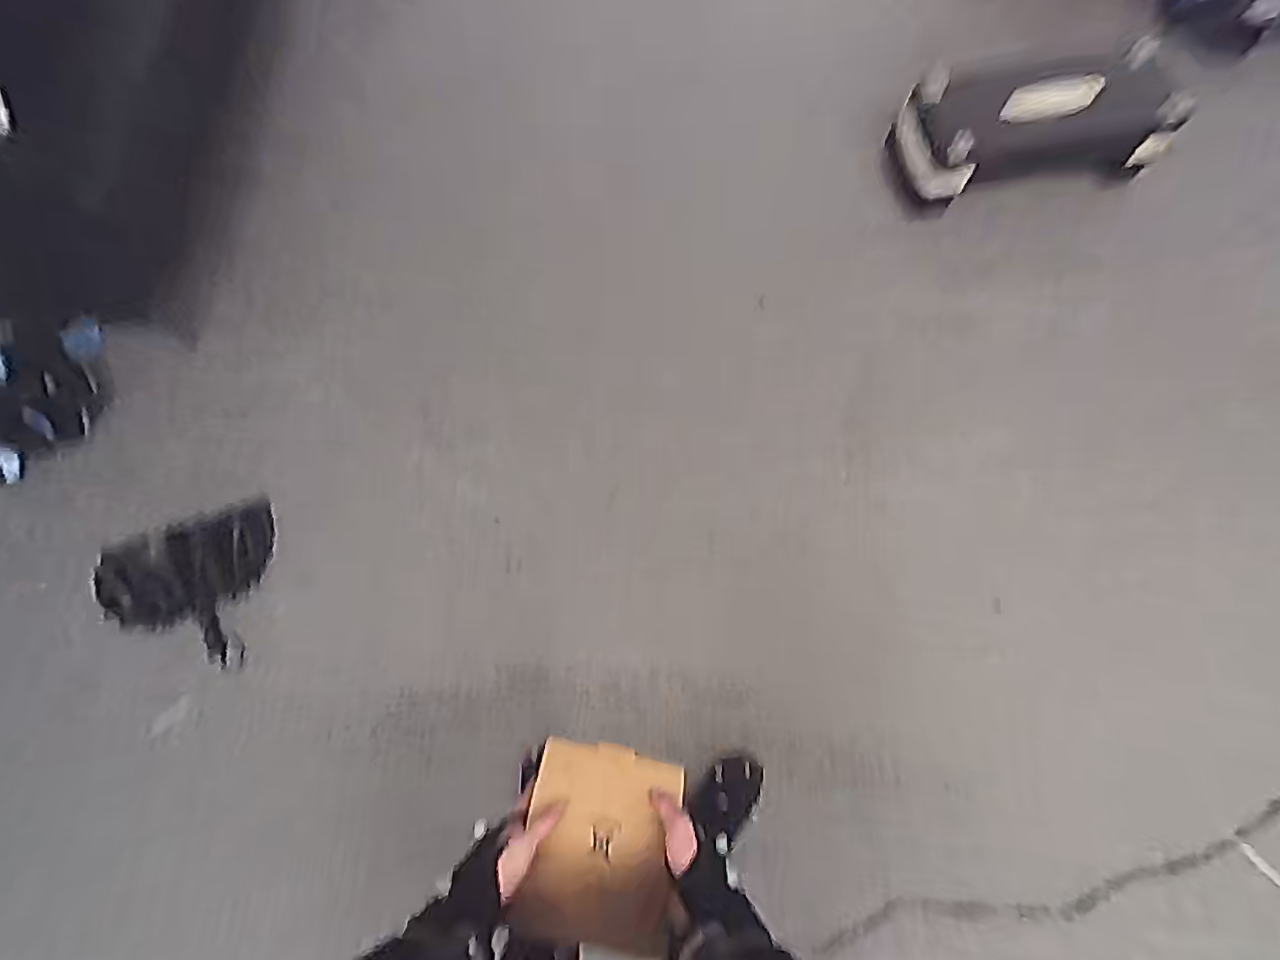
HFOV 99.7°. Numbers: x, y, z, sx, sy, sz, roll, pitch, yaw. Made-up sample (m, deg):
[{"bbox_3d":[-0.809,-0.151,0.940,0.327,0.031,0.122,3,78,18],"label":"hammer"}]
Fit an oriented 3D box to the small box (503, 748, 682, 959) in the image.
[{"bbox_3d":[-0.055,0.444,0.636,0.168,0.176,0.179,12,50,-1],"label":"small box"}]
